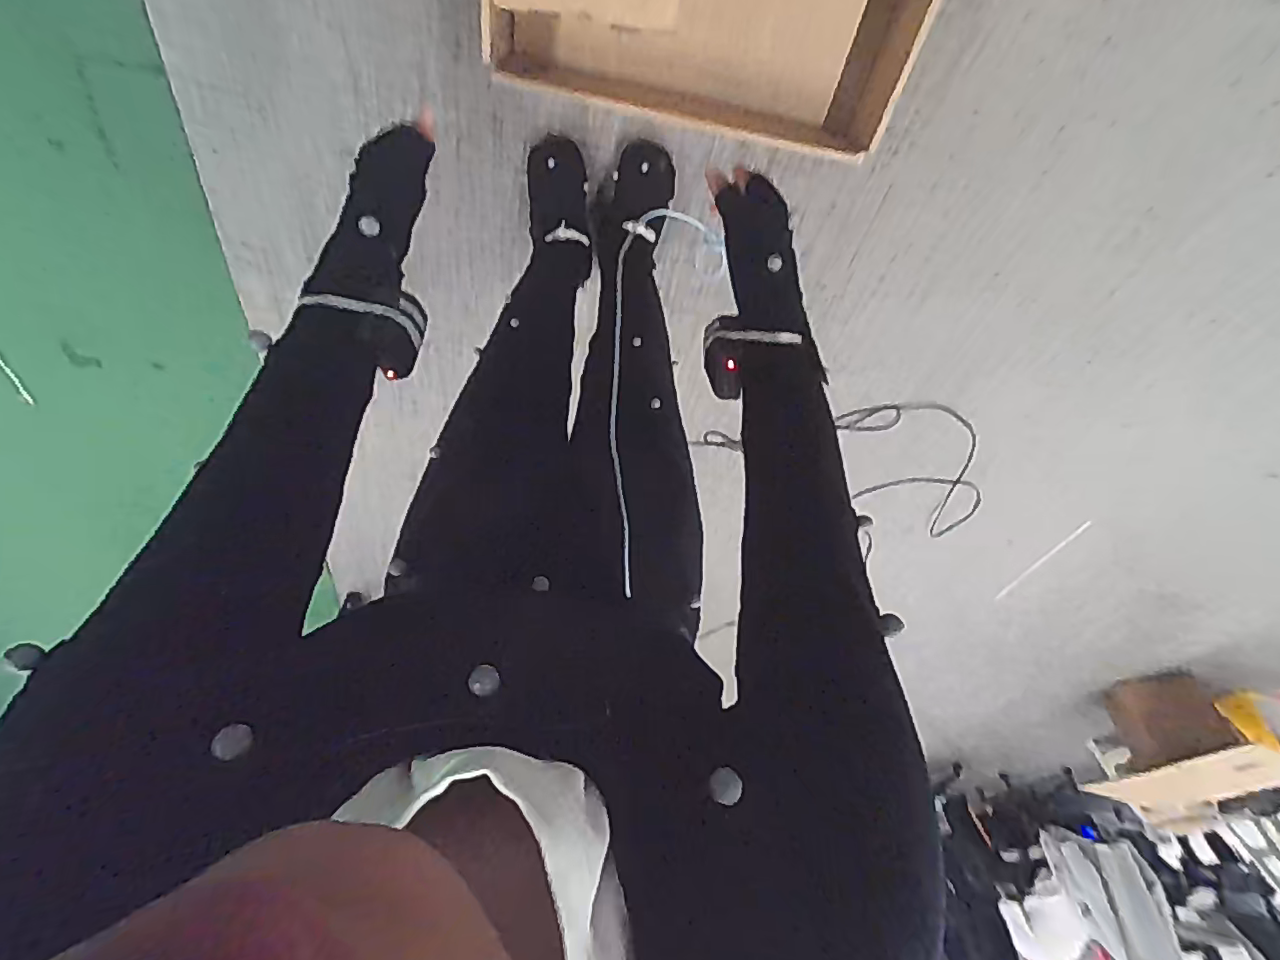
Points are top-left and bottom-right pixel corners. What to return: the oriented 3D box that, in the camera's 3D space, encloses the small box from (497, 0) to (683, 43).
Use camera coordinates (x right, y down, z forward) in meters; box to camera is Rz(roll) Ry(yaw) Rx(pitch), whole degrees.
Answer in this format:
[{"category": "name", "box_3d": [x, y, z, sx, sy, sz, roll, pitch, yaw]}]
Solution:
[{"category": "small box", "box_3d": [-0.031, -0.522, 0.477, 0.168, 0.176, 0.179, 6, 134, -7]}]
